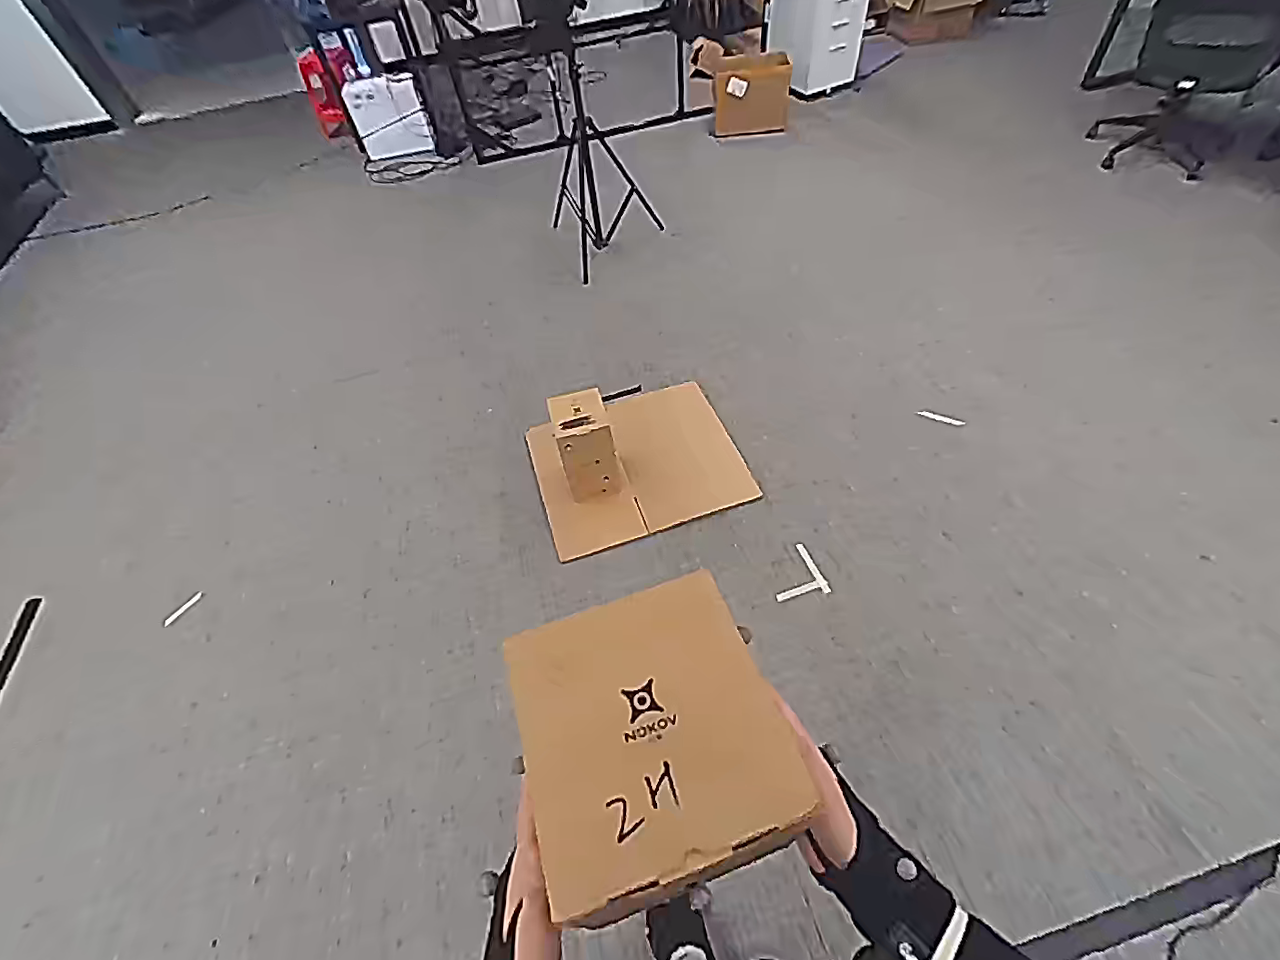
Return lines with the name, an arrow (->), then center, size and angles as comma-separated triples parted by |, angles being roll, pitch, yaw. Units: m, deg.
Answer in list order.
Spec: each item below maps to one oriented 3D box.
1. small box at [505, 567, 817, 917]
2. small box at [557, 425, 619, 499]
small box -> 0.008, 0.202, 0.418 | 0.168, 0.176, 0.179 | -18, 51, -8
small box -> -0.172, -0.054, 1.818 | 0.168, 0.176, 0.179 | -13, 52, -6
